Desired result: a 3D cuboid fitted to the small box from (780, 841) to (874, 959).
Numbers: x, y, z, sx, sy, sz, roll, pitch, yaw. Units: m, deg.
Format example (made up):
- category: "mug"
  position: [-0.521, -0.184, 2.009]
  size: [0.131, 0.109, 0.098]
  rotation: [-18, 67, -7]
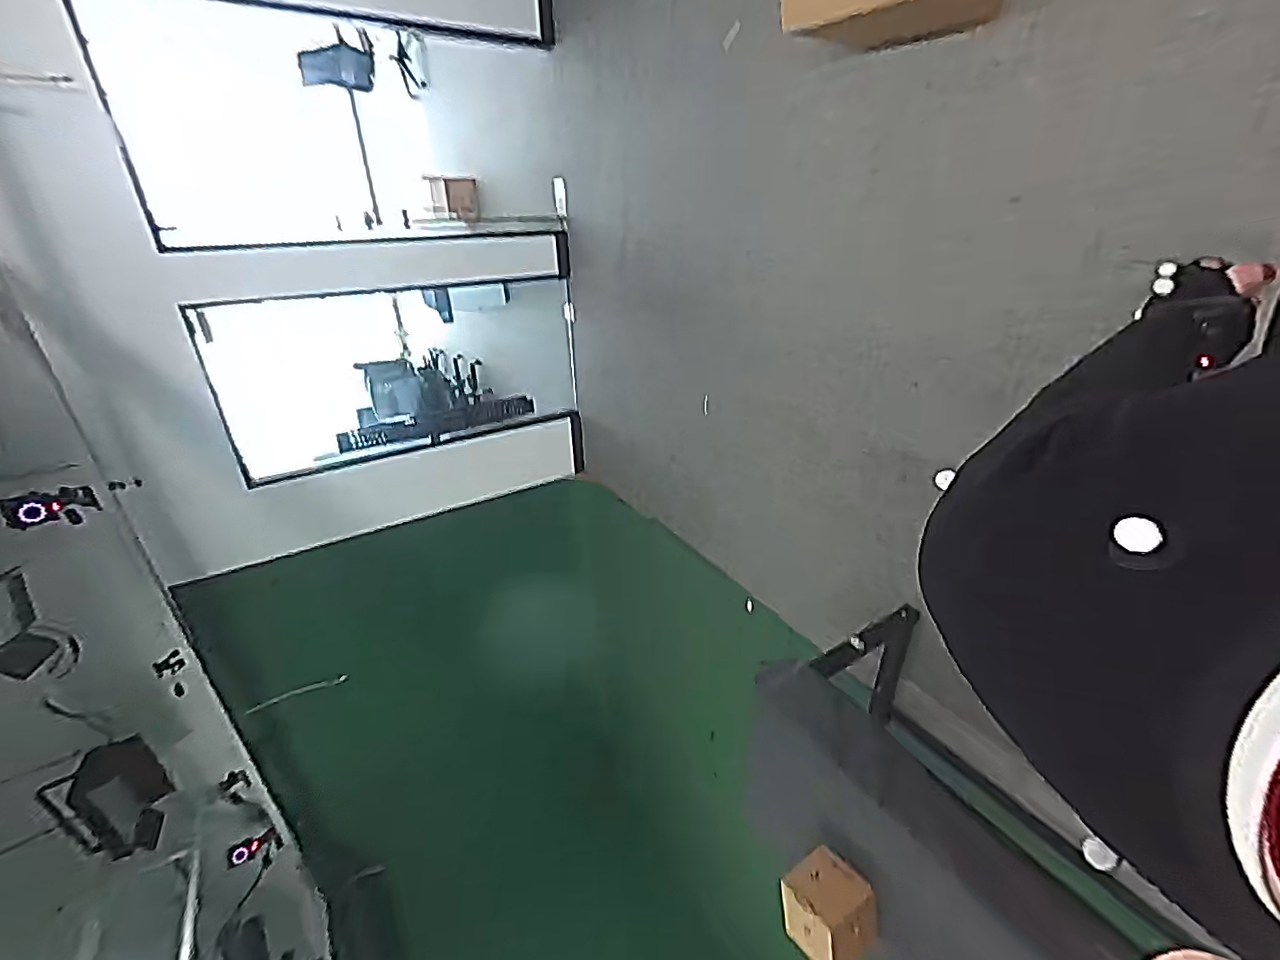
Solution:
- category: "small box"
  position: [0.485, 1.092, 1.400]
  size: [0.168, 0.176, 0.179]
  rotation: [20, 122, 59]
